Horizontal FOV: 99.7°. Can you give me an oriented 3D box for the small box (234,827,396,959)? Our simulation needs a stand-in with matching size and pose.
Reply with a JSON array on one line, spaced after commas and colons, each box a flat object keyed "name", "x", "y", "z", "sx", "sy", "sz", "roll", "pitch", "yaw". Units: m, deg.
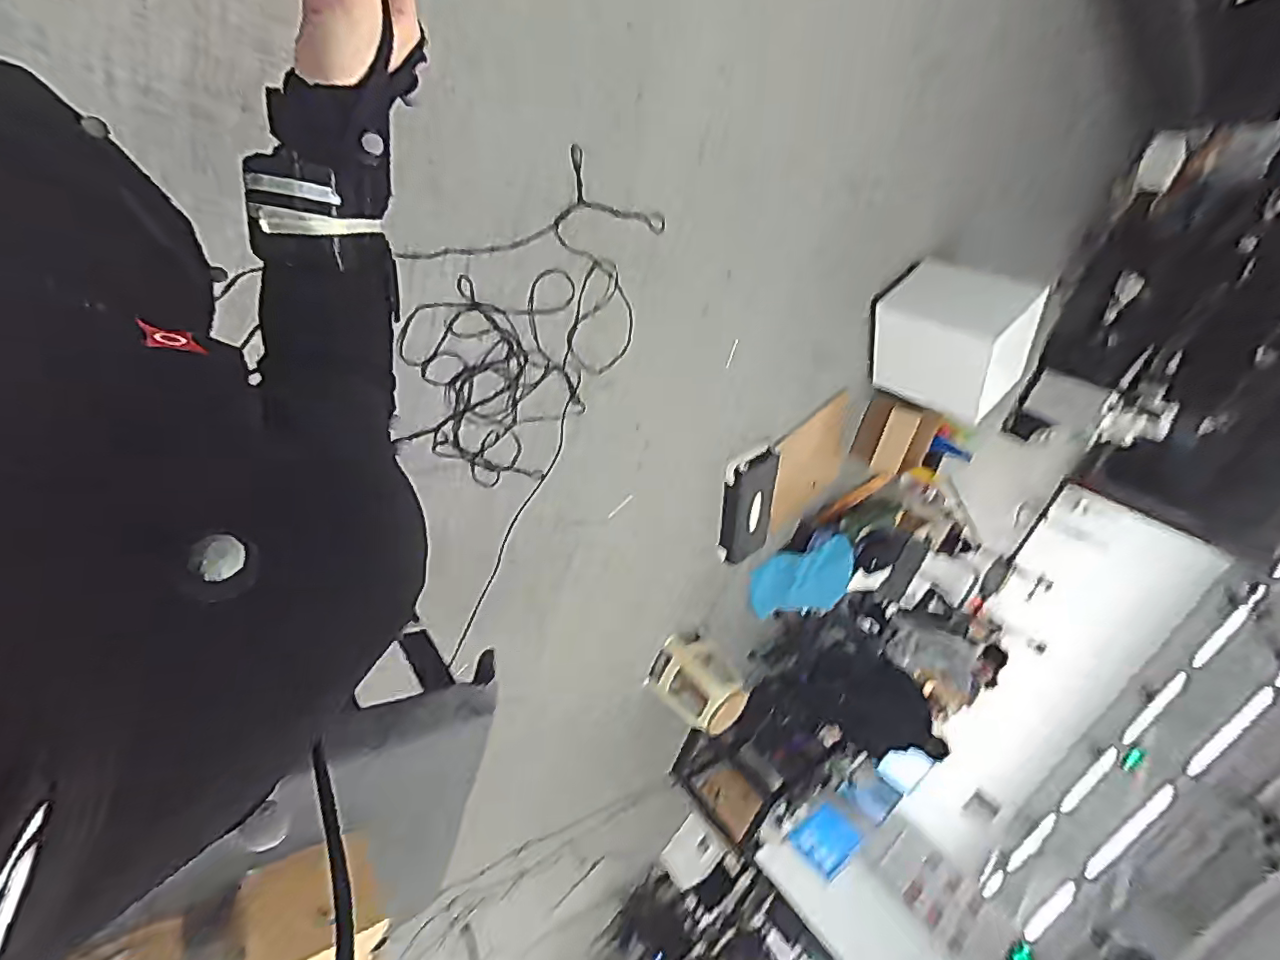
[{"name": "small box", "x": -0.537, "y": 0.724, "z": 0.885, "sx": 0.179, "sy": 0.176, "sz": 0.168, "roll": 6, "pitch": 114, "yaw": -49}]

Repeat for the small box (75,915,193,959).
[{"name": "small box", "x": -0.707, "y": 0.754, "z": 0.733, "sx": 0.168, "sy": 0.176, "sz": 0.179, "roll": -8, "pitch": 124, "yaw": -44}]
